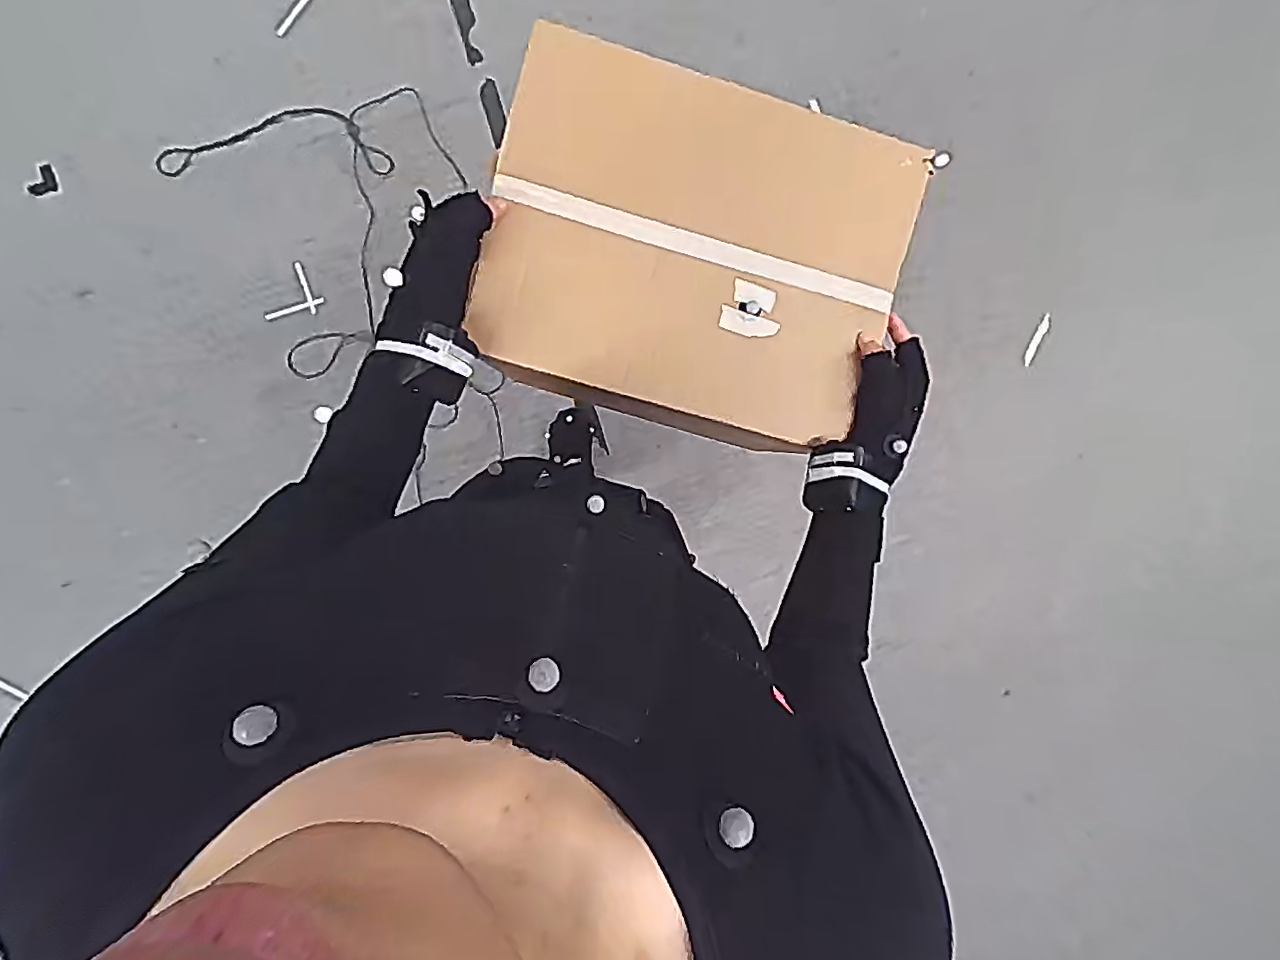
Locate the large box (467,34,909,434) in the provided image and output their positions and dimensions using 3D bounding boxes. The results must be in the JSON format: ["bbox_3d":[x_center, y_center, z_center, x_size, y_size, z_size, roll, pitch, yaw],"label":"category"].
[{"bbox_3d":[0.040,-0.253,0.694,0.408,0.320,0.320,14,94,-5],"label":"large box"}]
